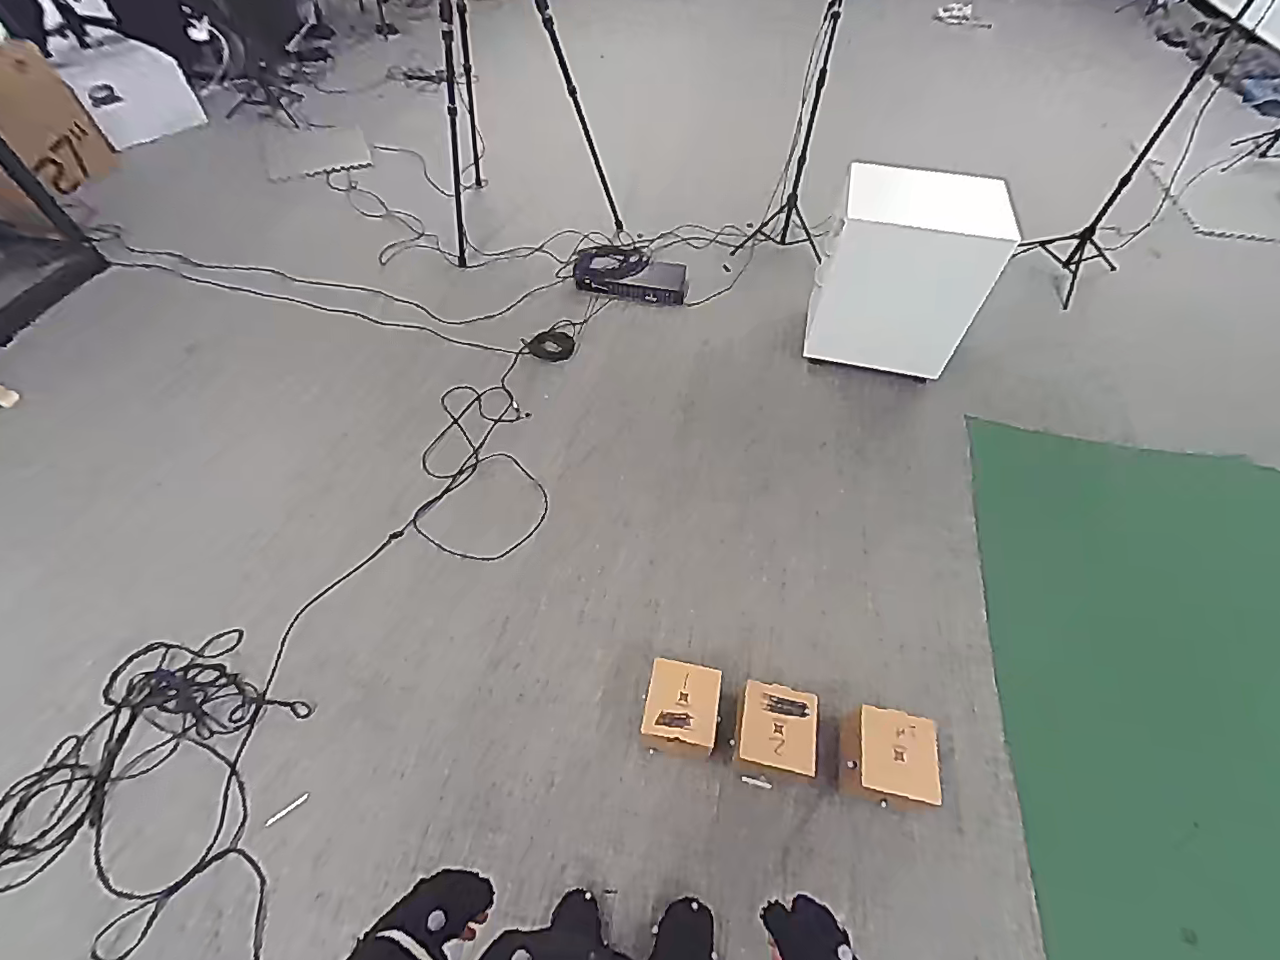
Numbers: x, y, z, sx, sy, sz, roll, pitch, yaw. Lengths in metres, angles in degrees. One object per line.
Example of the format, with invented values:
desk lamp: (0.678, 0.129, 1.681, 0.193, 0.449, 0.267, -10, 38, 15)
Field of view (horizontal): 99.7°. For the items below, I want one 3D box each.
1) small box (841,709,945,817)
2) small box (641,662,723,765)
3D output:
small box: (0.570, 0.652, 1.238, 0.168, 0.176, 0.179, 11, 54, 7)
small box: (0.101, 0.564, 1.298, 0.168, 0.176, 0.179, 9, 53, 7)
